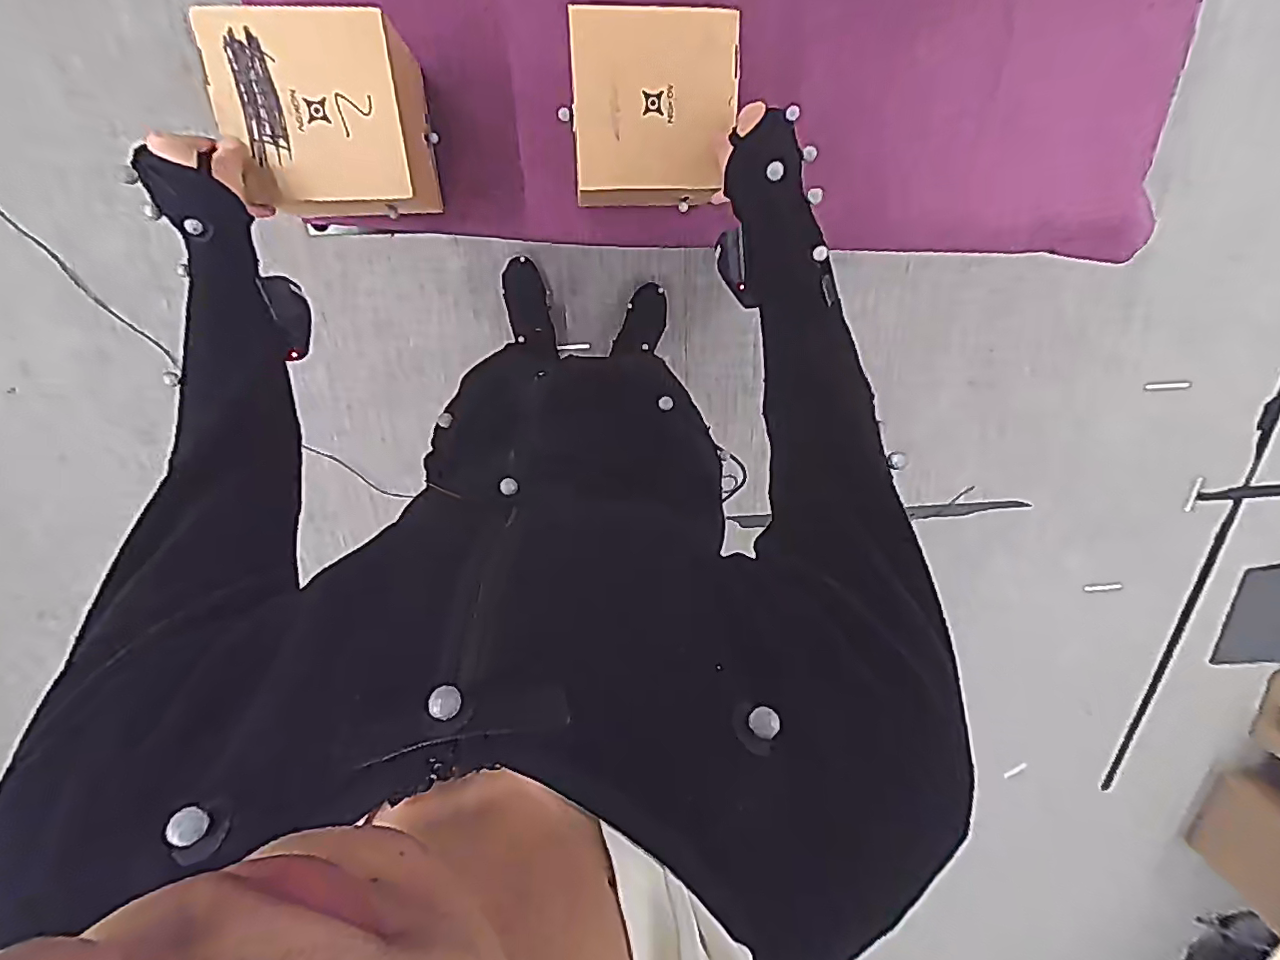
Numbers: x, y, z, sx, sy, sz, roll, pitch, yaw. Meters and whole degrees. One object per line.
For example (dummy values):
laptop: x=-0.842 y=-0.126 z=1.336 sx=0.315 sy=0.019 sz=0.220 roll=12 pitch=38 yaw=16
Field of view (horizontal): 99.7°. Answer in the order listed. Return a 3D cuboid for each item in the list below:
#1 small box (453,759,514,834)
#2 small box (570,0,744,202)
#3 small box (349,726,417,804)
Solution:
small box: x=-0.599 y=1.219 z=2.093 sx=0.168 sy=0.176 sz=0.179 roll=26 pitch=109 yaw=-16
small box: x=0.010 y=-0.431 z=0.638 sx=0.179 sy=0.176 sz=0.168 roll=-4 pitch=111 yaw=-6
small box: x=-0.936 y=1.044 z=1.982 sx=0.168 sy=0.176 sz=0.179 roll=19 pitch=111 yaw=-14
